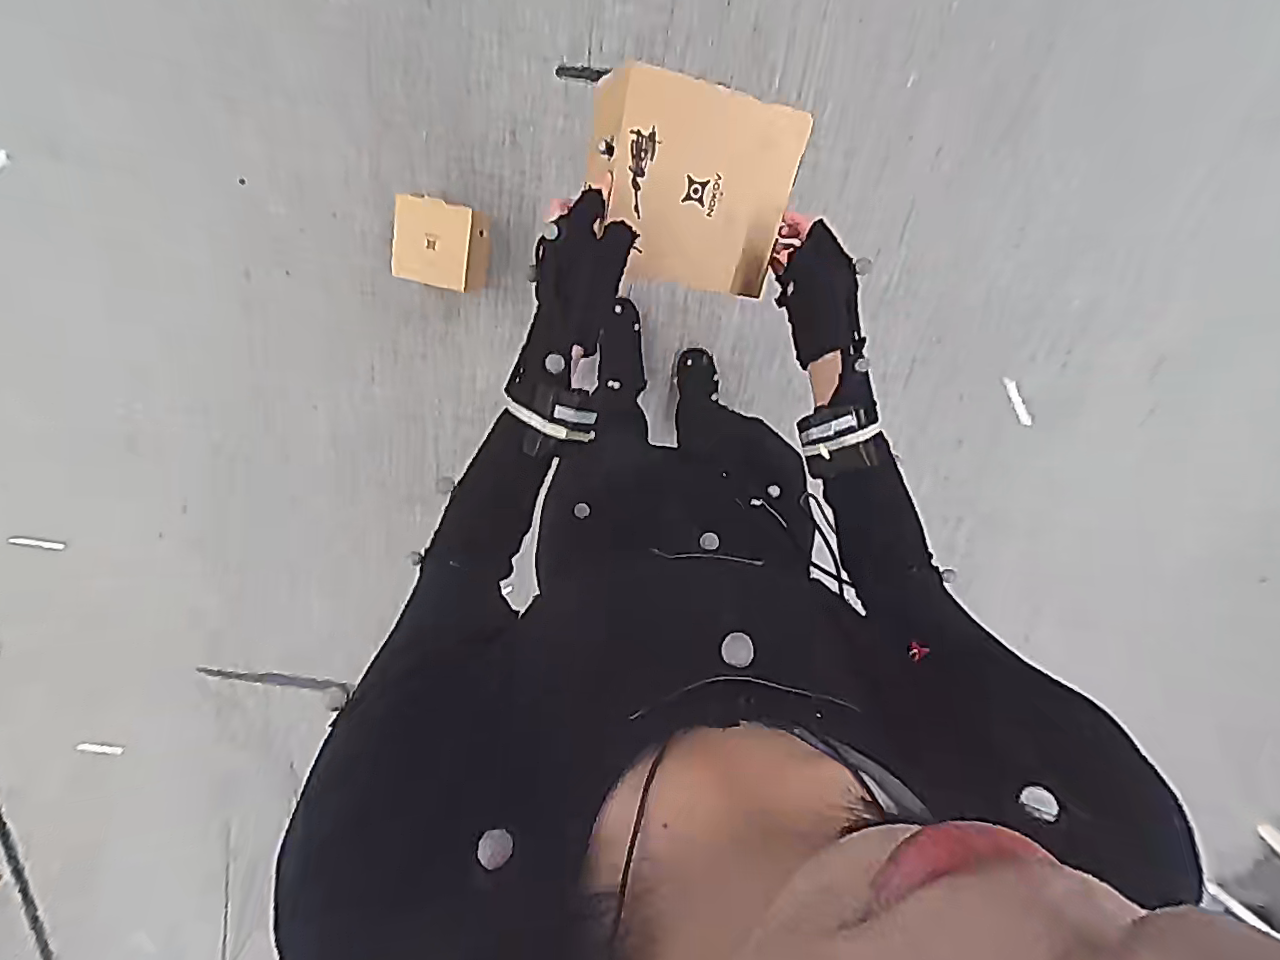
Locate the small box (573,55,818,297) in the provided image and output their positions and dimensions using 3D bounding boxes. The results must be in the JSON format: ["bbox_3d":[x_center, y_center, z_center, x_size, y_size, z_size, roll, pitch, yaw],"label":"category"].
[{"bbox_3d":[0.039,-0.301,0.548,0.179,0.176,0.168,3,121,-18],"label":"small box"}]

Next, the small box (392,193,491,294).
[{"bbox_3d":[-0.453,-0.539,1.251,0.168,0.176,0.179,12,111,-3],"label":"small box"}]
